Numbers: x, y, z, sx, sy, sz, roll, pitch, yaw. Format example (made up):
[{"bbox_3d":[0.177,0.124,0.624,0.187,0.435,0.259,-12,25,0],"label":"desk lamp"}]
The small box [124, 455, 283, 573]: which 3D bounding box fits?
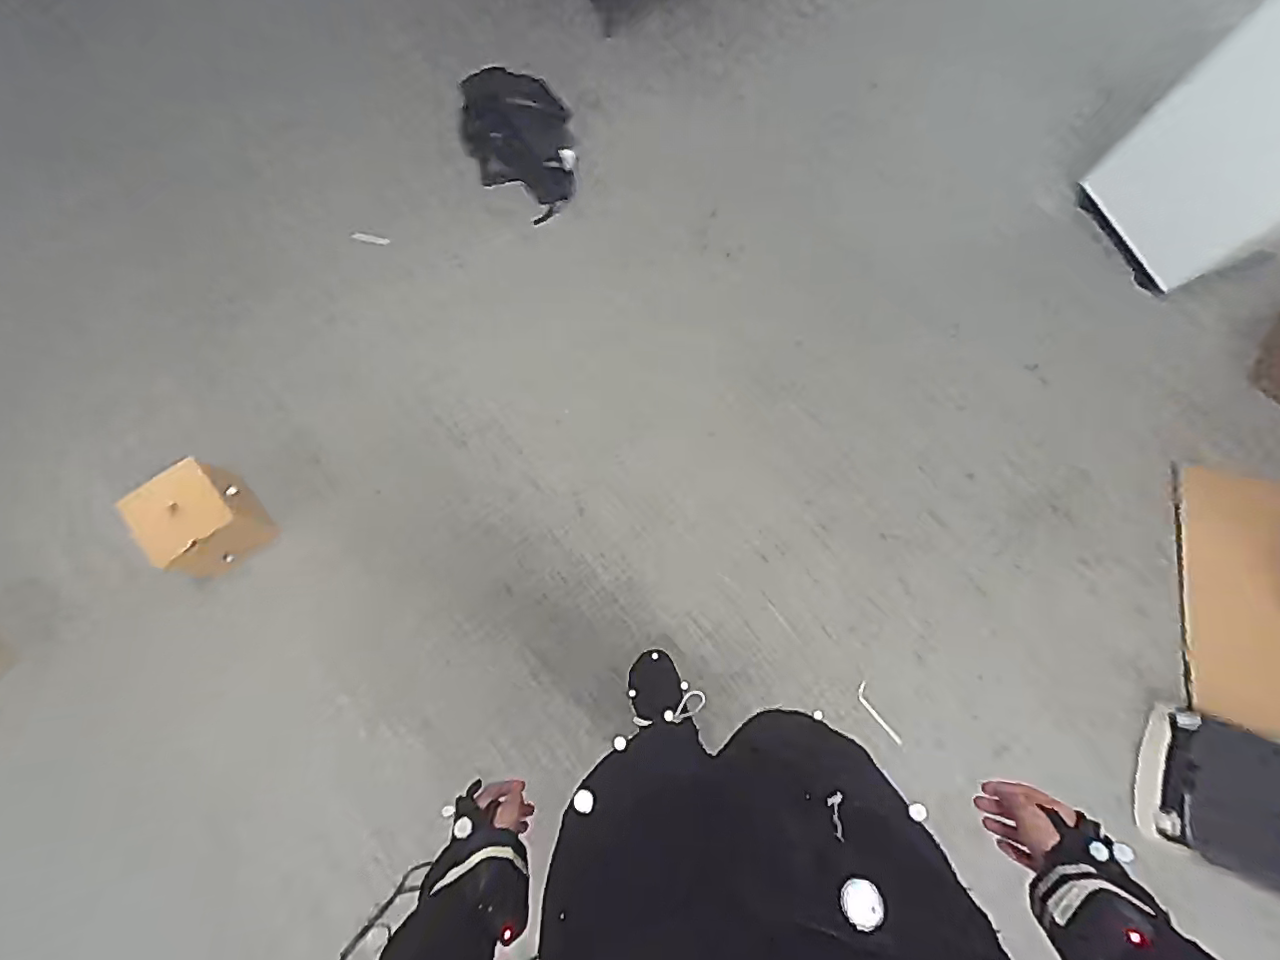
[{"bbox_3d":[-0.923,0.081,1.161,0.168,0.176,0.179,-38,80,-13],"label":"small box"}]
